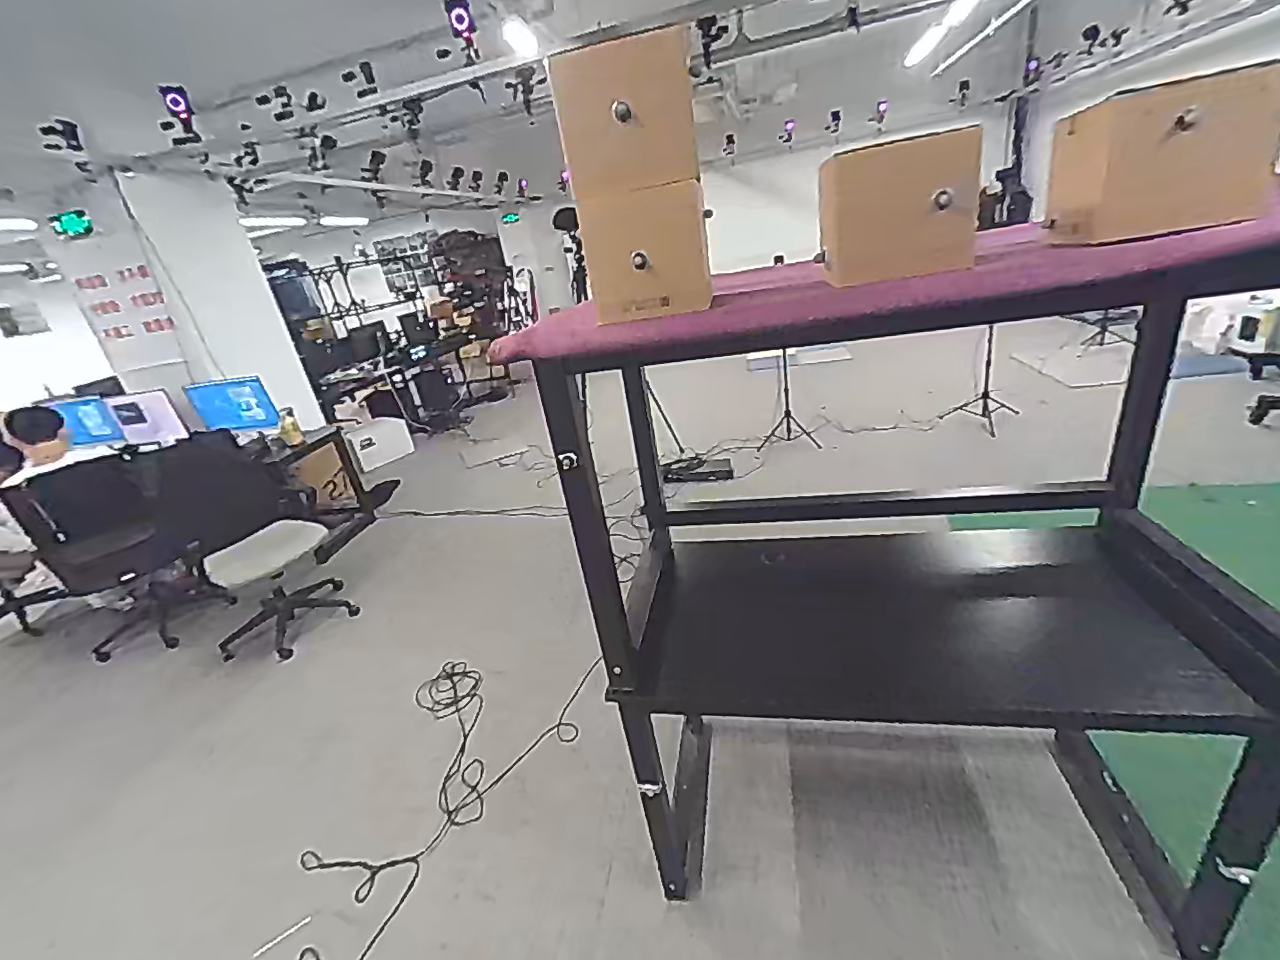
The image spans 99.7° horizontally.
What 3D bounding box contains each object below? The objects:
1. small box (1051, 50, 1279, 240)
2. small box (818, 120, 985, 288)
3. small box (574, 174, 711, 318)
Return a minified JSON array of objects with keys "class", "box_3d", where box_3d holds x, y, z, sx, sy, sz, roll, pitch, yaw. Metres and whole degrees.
[{"class":"small box","box_3d":[0.669,-0.416,0.704,0.179,0.176,0.168,-3,23,15]},{"class":"small box","box_3d":[0.352,-0.379,0.760,0.179,0.176,0.168,-6,24,13]},{"class":"small box","box_3d":[0.015,-0.345,0.812,0.168,0.176,0.179,-4,25,12]}]
